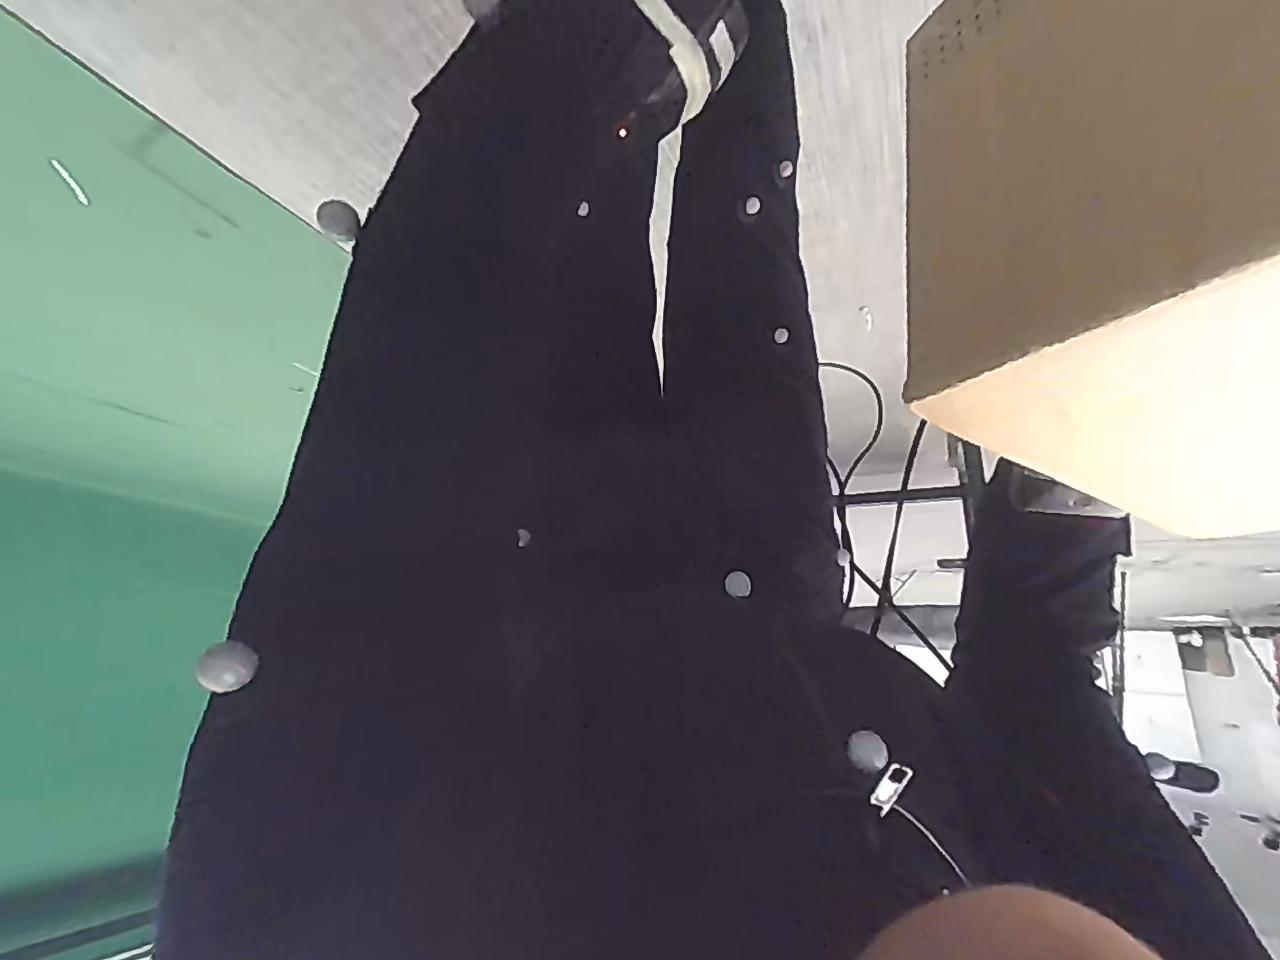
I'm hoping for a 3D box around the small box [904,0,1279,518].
[{"bbox_3d":[0.200,-0.104,0.154,0.179,0.176,0.168,17,159,-22],"label":"small box"}]
